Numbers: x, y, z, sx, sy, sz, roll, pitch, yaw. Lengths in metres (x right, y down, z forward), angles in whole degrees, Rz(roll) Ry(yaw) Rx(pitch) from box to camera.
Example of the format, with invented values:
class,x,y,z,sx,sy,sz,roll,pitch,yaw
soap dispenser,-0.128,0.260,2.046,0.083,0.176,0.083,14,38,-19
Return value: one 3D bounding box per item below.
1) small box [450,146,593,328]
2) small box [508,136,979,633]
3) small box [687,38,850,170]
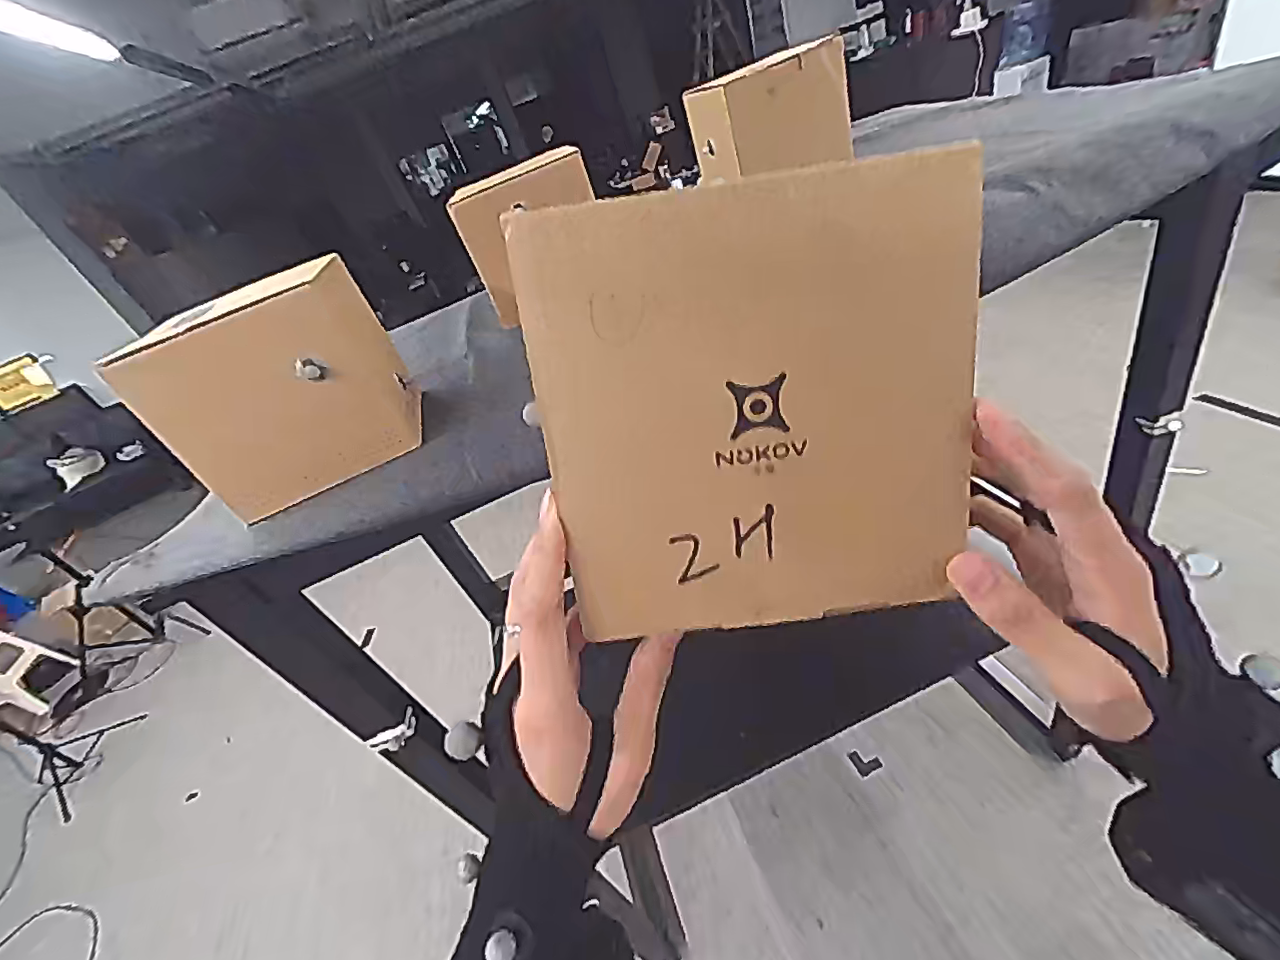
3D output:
class,x,y,z,sx,sy,sz,roll,pitch,yaw
small box,-0.138,-0.339,0.755,0.179,0.176,0.168,-22,35,1
small box,0.043,-0.048,0.284,0.168,0.179,0.176,-7,17,3
small box,0.189,-0.502,0.791,0.168,0.176,0.179,-23,34,-1
